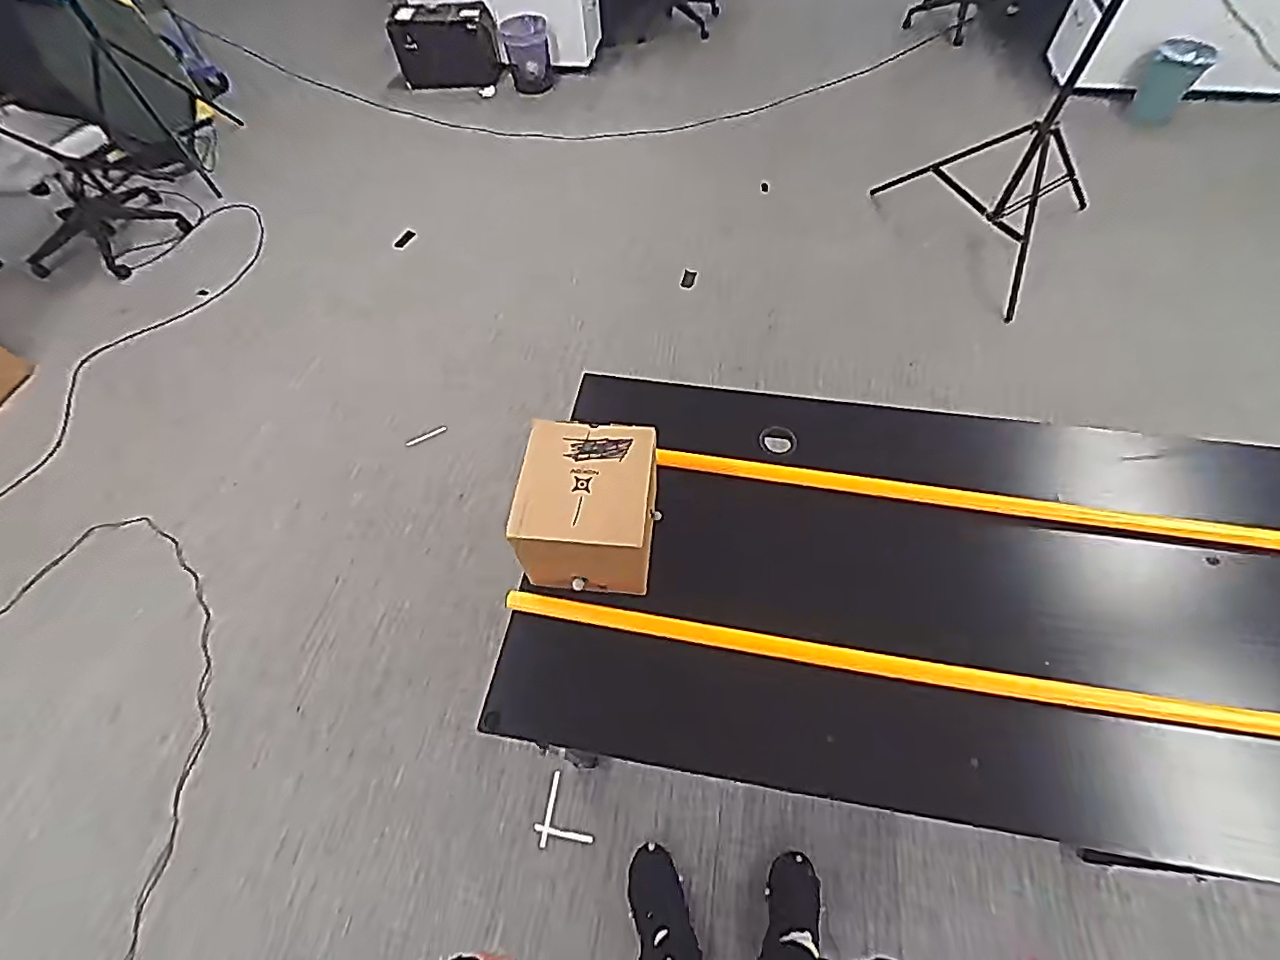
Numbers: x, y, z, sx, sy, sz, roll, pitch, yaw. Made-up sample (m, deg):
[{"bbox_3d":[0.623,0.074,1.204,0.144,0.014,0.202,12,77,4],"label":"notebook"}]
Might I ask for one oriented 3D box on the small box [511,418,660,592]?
[{"bbox_3d":[-0.062,0.037,0.746,0.168,0.176,0.179,4,60,5],"label":"small box"}]
